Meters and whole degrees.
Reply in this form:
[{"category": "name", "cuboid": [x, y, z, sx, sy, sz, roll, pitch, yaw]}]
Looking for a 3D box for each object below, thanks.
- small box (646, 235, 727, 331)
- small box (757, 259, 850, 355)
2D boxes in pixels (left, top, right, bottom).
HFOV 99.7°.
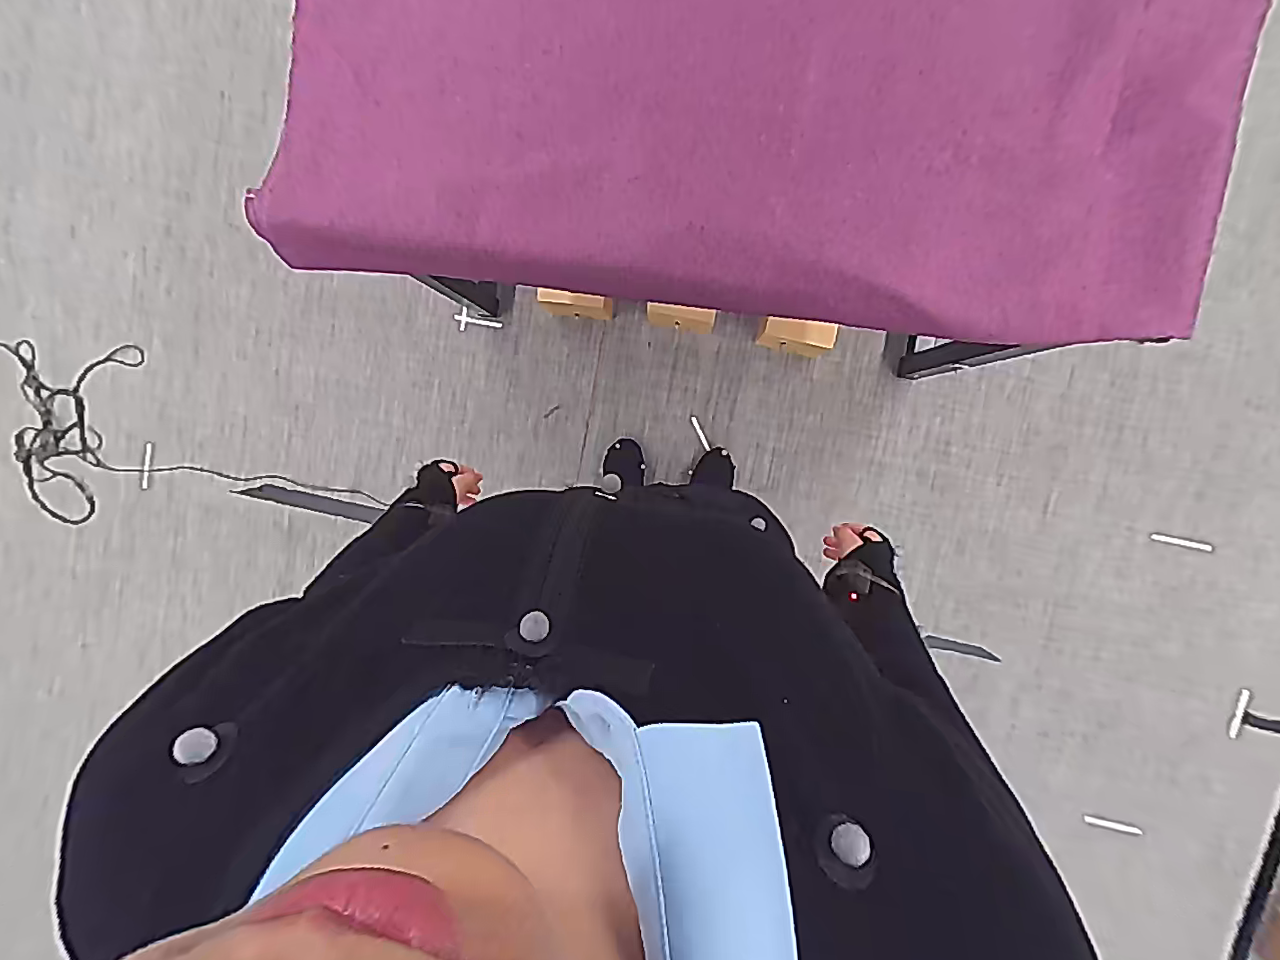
[{"category": "small box", "cuboid": [0.116, -0.486, 1.363, 0.168, 0.176, 0.179, 12, 95, 2]}, {"category": "small box", "cuboid": [0.398, -0.423, 1.352, 0.168, 0.176, 0.179, 14, 95, 3]}]
